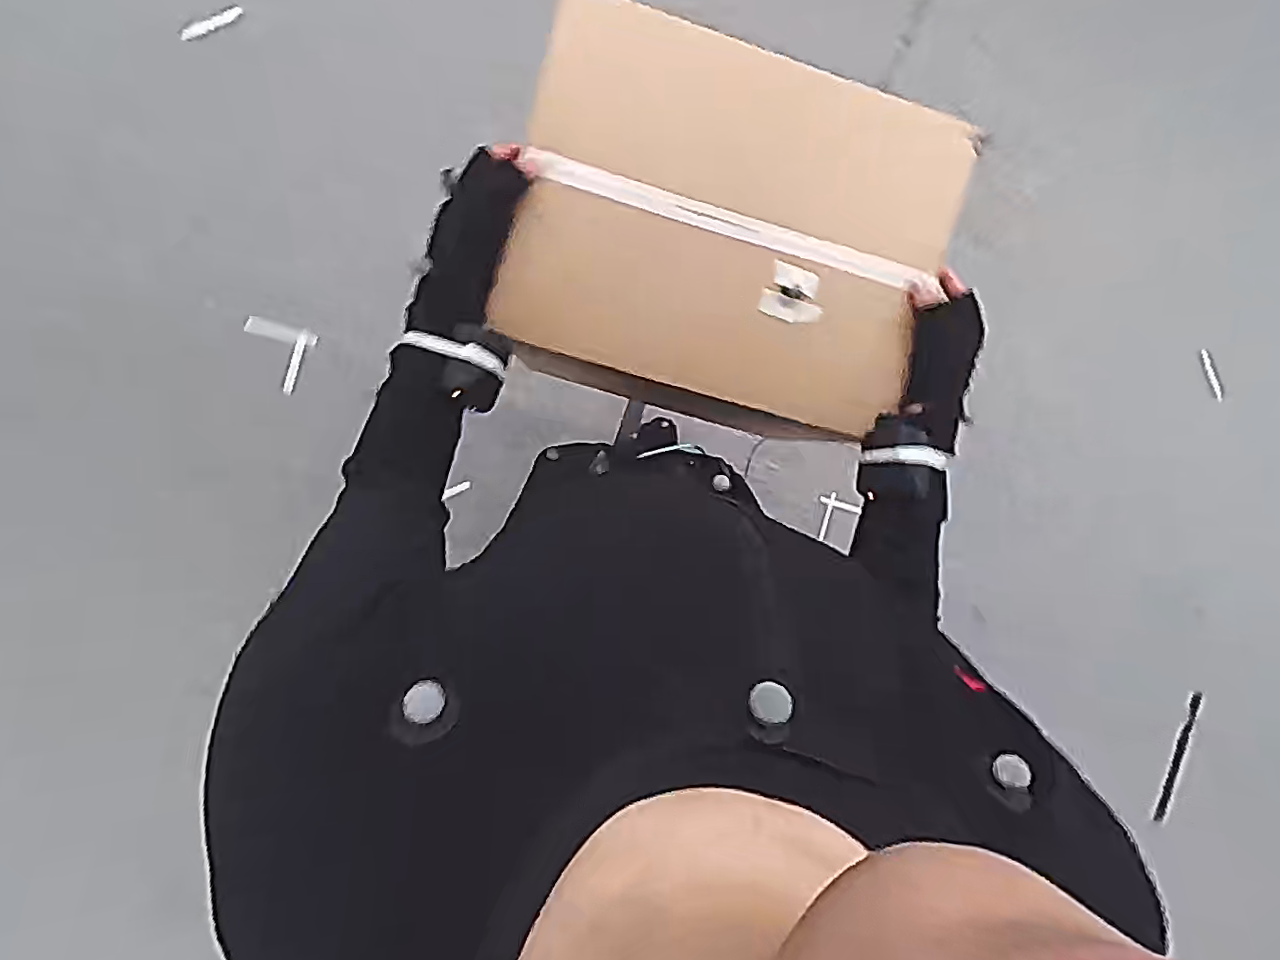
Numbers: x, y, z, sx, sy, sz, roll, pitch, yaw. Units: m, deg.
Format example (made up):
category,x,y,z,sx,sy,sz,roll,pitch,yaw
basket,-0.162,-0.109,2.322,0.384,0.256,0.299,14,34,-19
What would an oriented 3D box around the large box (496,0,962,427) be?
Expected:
category,x,y,z,sx,sy,sz,roll,pitch,yaw
large box,0.073,-0.260,0.661,0.408,0.320,0.320,14,95,-8
